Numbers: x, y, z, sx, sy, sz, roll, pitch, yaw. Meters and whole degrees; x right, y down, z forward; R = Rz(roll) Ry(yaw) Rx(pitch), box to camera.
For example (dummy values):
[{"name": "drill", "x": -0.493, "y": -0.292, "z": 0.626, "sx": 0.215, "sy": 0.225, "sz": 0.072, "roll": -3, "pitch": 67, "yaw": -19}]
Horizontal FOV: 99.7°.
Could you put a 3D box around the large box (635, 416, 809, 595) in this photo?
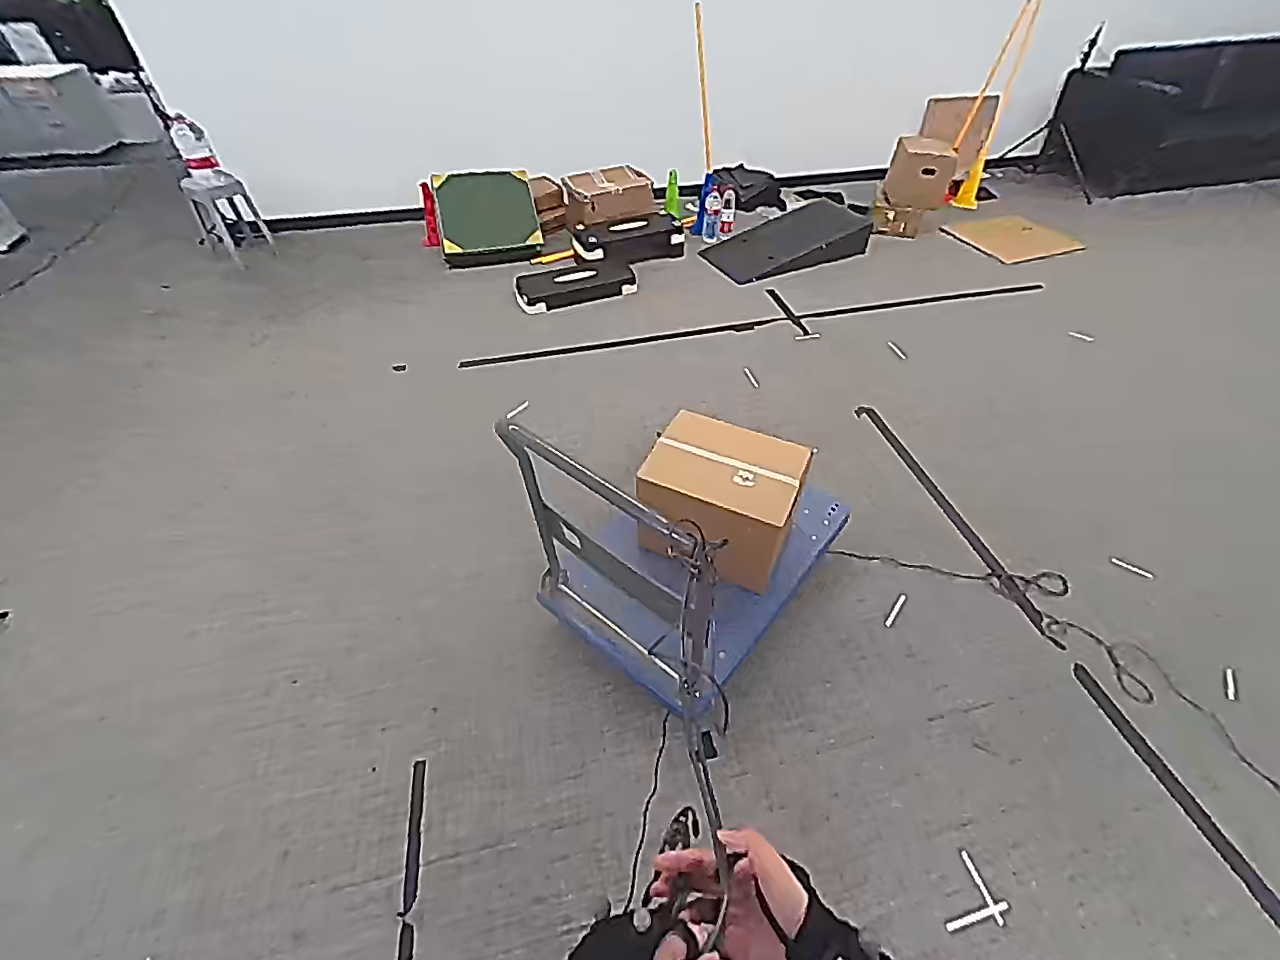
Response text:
[{"name": "large box", "x": 0.226, "y": 0.068, "z": 1.570, "sx": 0.408, "sy": 0.320, "sz": 0.320, "roll": 20, "pitch": 50, "yaw": 17}]
